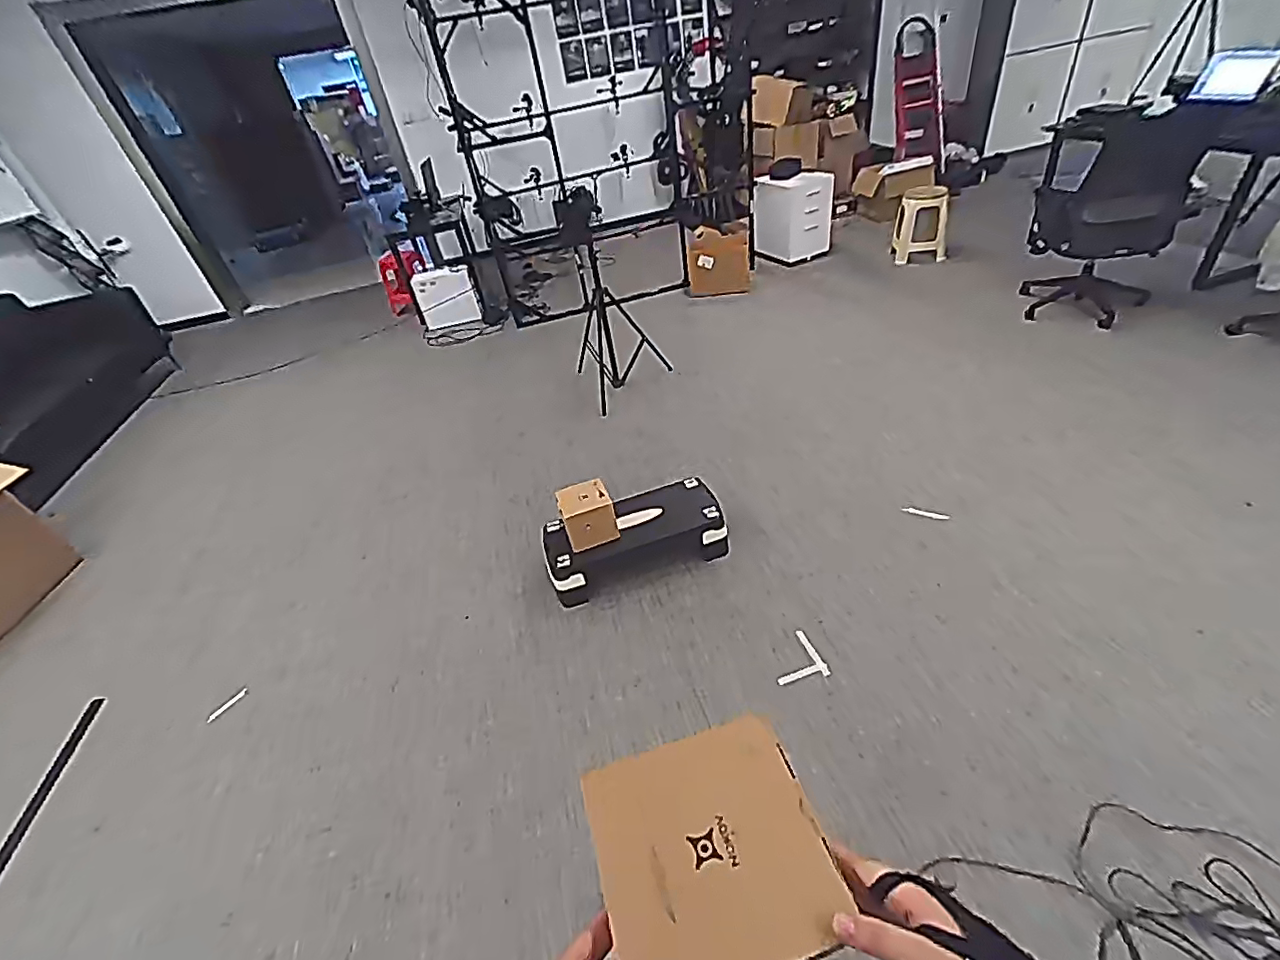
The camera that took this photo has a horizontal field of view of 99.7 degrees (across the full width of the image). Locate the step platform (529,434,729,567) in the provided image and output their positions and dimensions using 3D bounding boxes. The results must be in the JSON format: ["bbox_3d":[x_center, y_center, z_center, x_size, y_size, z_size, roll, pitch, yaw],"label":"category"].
[{"bbox_3d":[-0.035,0.069,1.927,0.684,0.204,0.286,-17,38,-8],"label":"step platform"}]

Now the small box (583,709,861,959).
[{"bbox_3d":[0.061,0.342,0.485,0.179,0.176,0.168,-17,44,-9],"label":"small box"}]

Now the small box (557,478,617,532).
[{"bbox_3d":[-0.190,0.125,1.953,0.179,0.176,0.168,-19,39,-10],"label":"small box"}]
